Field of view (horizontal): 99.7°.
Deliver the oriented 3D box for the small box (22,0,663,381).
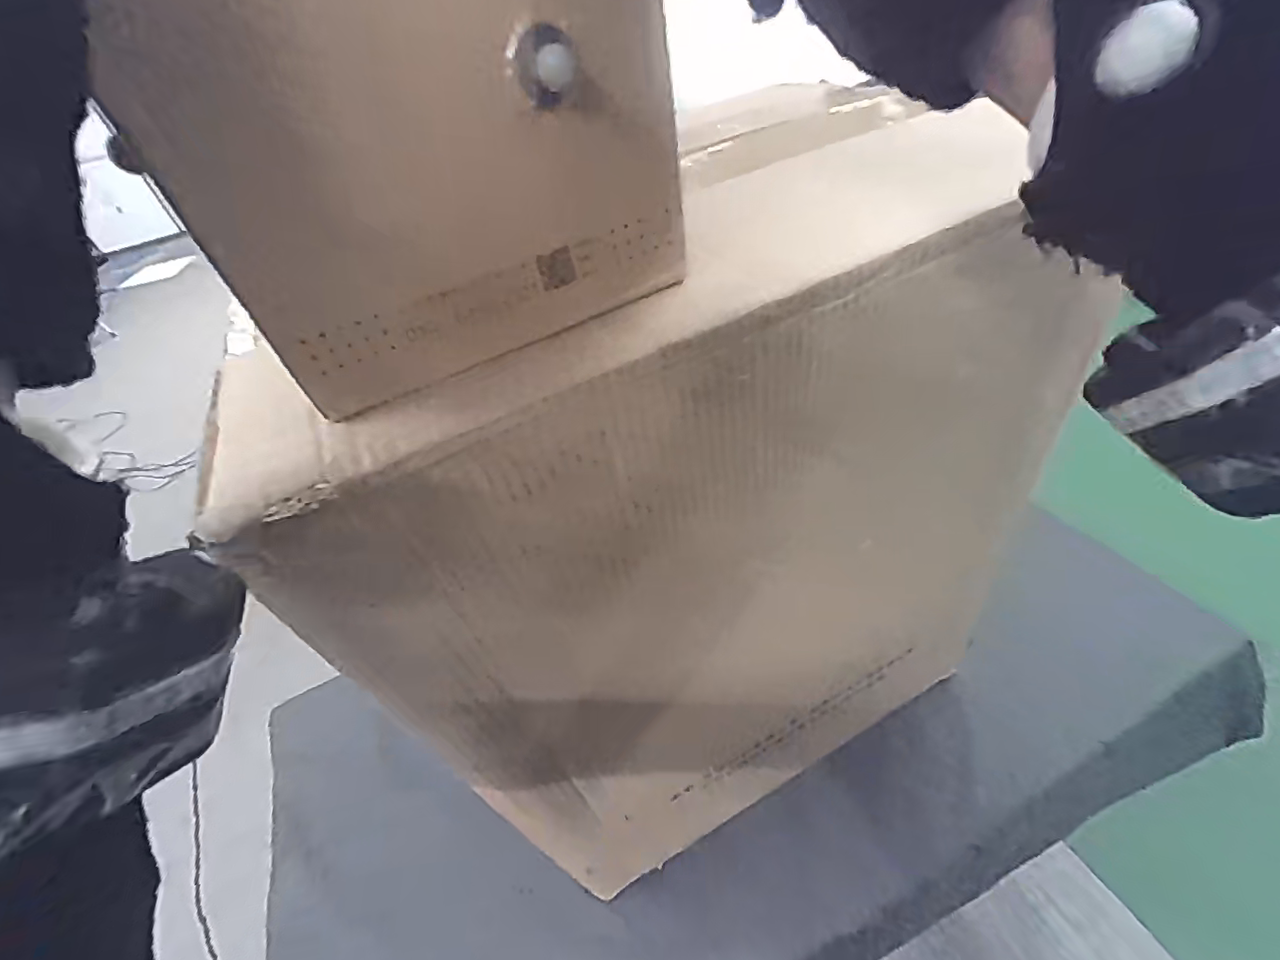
[{"bbox_3d":[-0.107,-0.165,0.226,0.168,0.176,0.179,-30,48,-15],"label":"small box"}]
